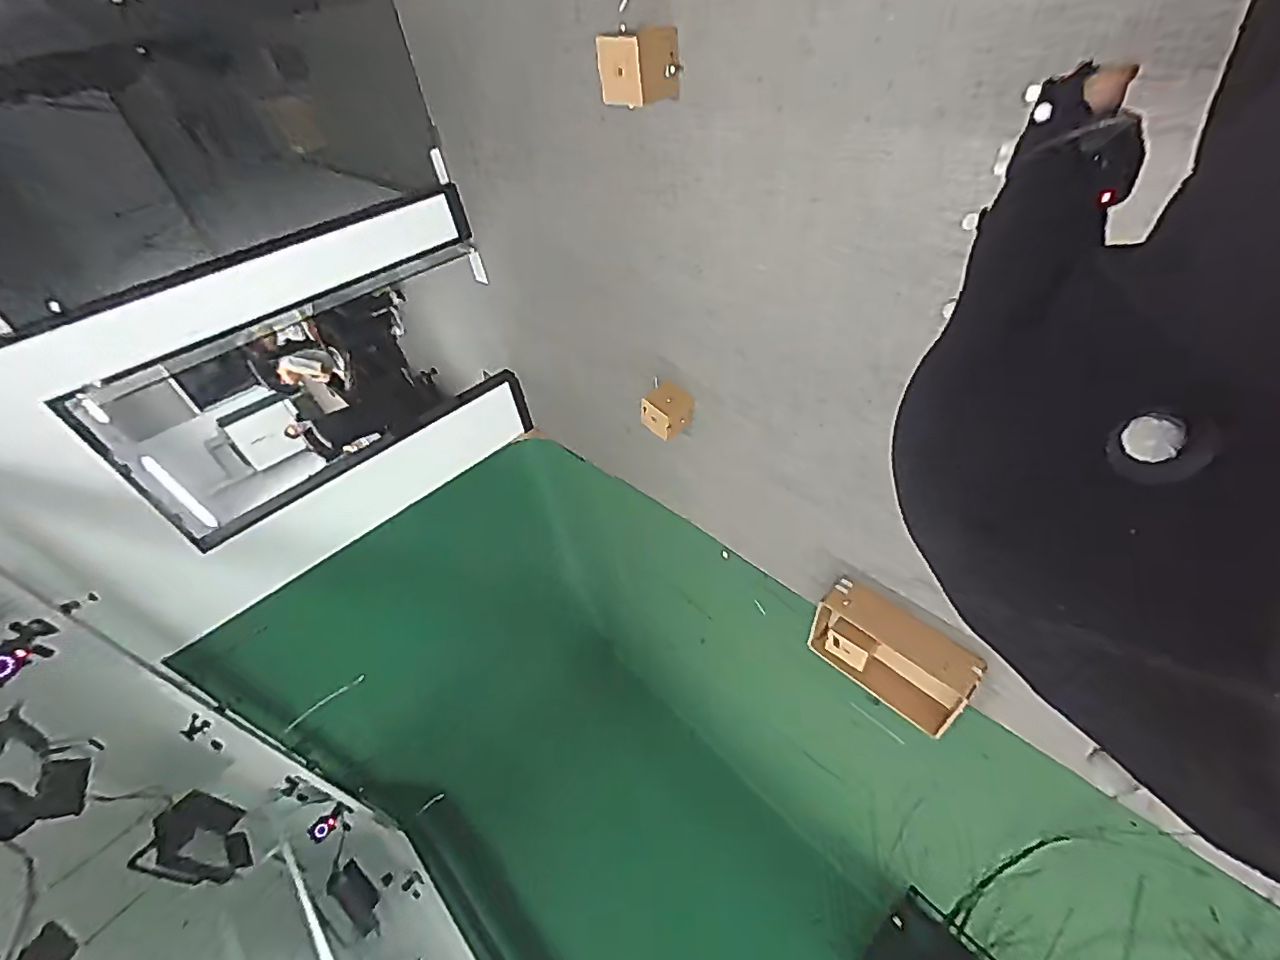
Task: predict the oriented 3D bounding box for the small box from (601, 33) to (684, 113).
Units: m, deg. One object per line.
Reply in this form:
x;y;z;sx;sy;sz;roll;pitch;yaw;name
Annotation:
0.011;-1.227;1.629;0.179;0.176;0.168;31;147;34;small box

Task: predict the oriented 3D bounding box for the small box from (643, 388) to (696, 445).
0.138;-0.301;2.509;0.179;0.176;0.168;39;150;24;small box
